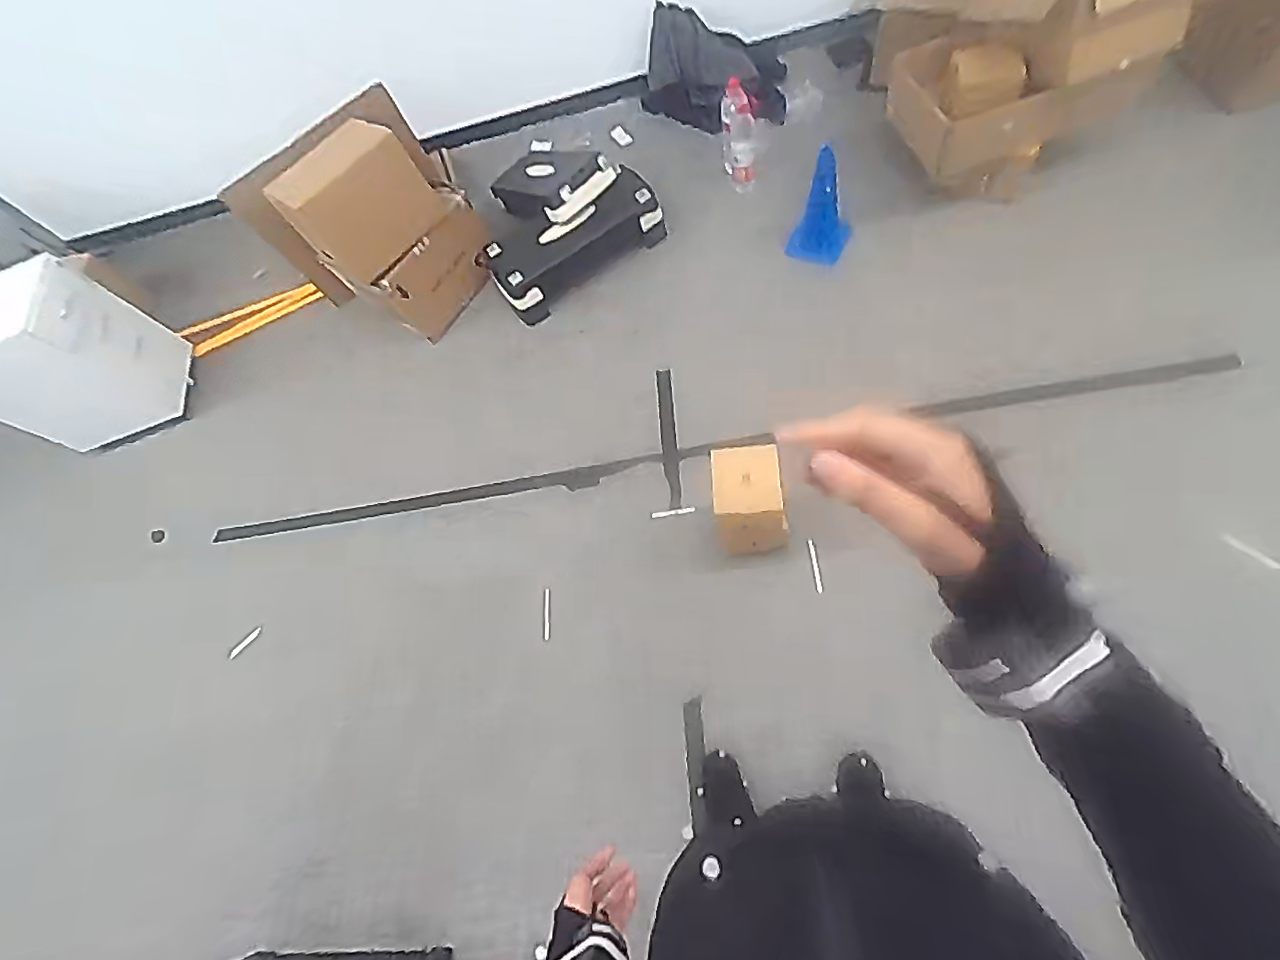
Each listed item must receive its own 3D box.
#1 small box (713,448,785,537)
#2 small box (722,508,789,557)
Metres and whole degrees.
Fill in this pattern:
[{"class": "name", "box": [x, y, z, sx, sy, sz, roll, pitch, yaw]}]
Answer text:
[{"class": "small box", "box": [0.278, 0.036, 1.394, 0.168, 0.176, 0.179, -5, 67, 11]}, {"class": "small box", "box": [0.319, 0.110, 1.534, 0.179, 0.176, 0.168, -10, 65, 10]}]
